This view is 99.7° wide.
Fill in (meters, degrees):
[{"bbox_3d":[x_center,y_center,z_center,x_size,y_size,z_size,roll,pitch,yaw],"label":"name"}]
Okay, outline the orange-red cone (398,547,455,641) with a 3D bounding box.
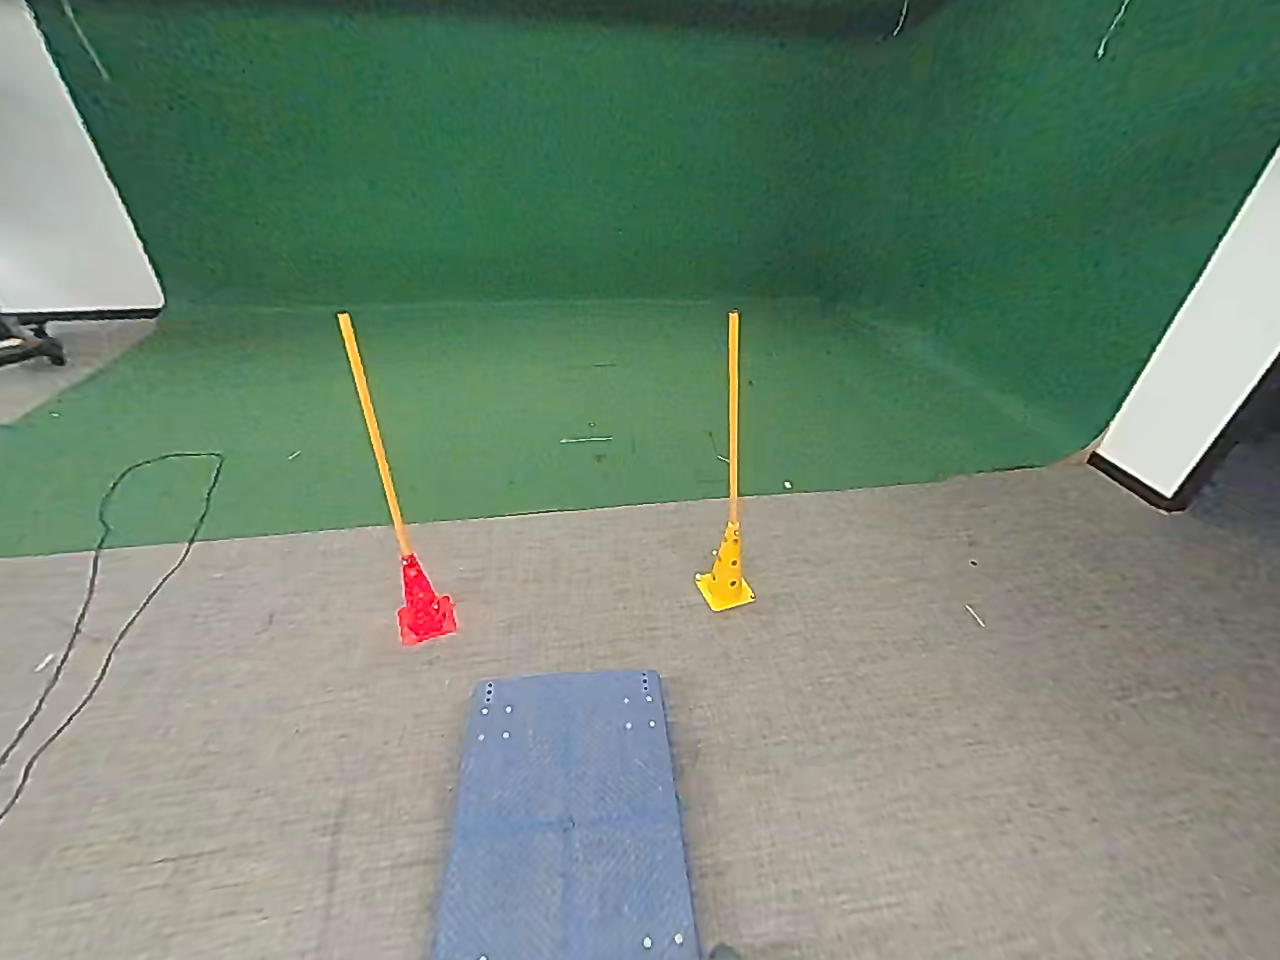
[{"bbox_3d":[-0.820,0.387,1.975,0.199,0.360,0.198,-14,38,-19],"label":"orange-red cone"}]
